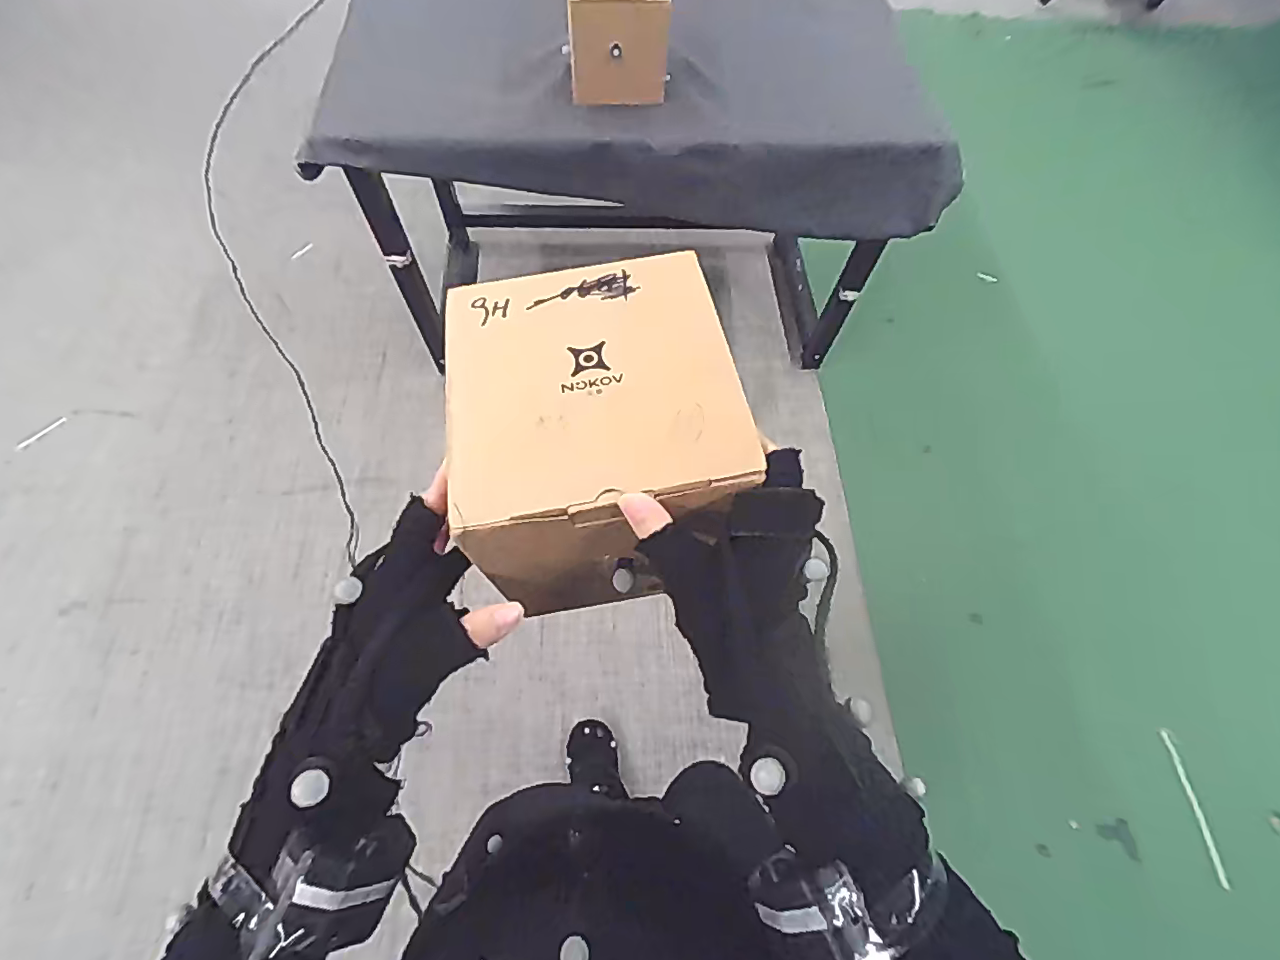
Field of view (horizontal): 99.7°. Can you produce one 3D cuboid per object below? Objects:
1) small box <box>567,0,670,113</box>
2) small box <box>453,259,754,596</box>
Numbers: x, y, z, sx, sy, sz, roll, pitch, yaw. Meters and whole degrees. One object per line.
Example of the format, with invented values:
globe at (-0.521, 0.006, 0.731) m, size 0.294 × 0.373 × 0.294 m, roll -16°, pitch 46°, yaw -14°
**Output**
small box at (-0.045, -0.831, 1.029) m, size 0.179 × 0.176 × 0.168 m, roll -5°, pitch 64°, yaw -4°
small box at (-0.026, -0.024, 0.397) m, size 0.168 × 0.176 × 0.179 m, roll -11°, pitch 62°, yaw -3°
